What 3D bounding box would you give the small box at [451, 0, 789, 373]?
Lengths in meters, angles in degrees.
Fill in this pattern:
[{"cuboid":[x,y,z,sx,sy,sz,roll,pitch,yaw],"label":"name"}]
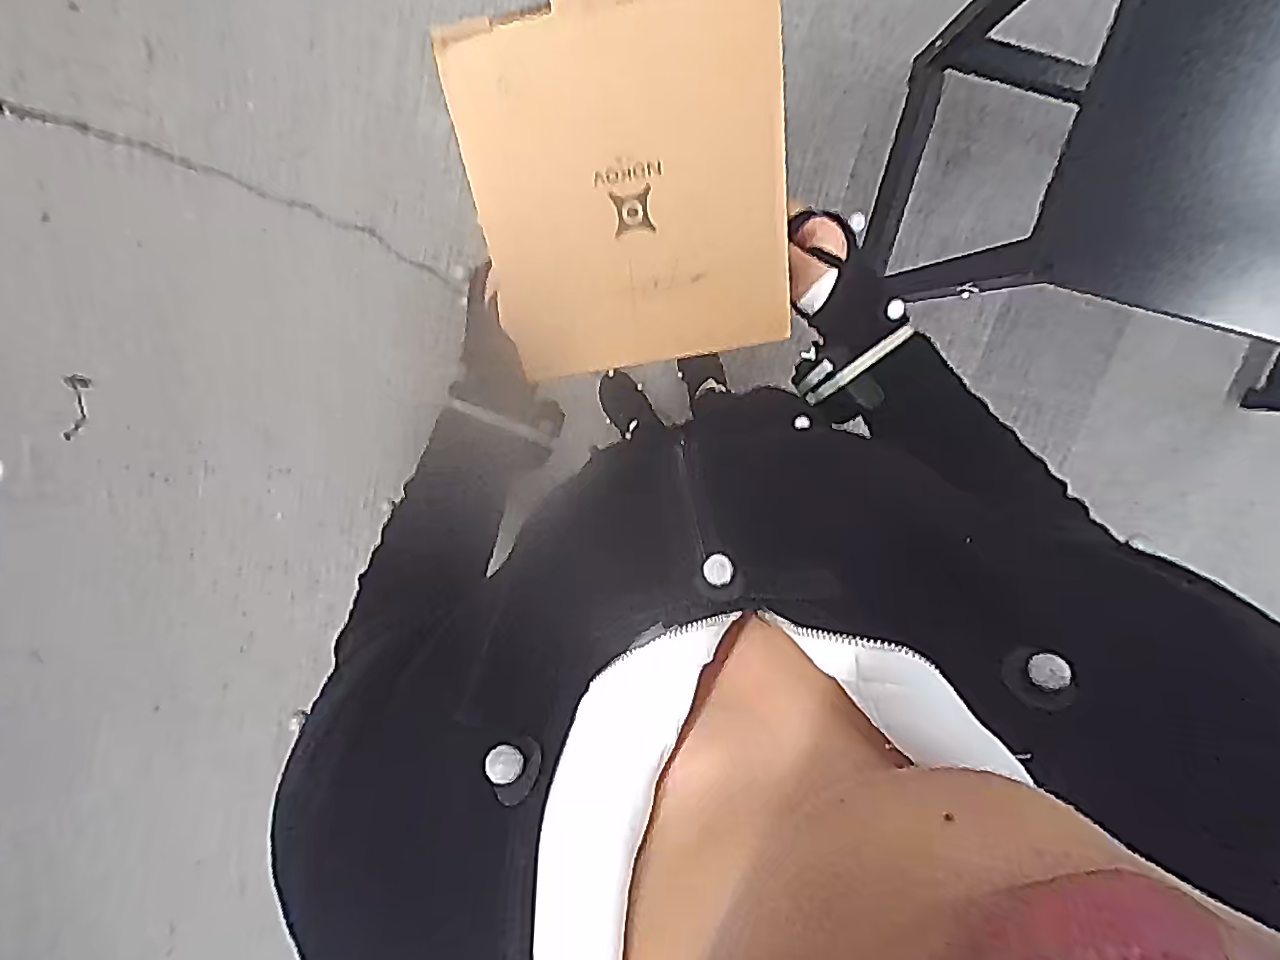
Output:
[{"cuboid":[-0.001,-0.192,0.368,0.168,0.176,0.179,-8,120,6],"label":"small box"}]
